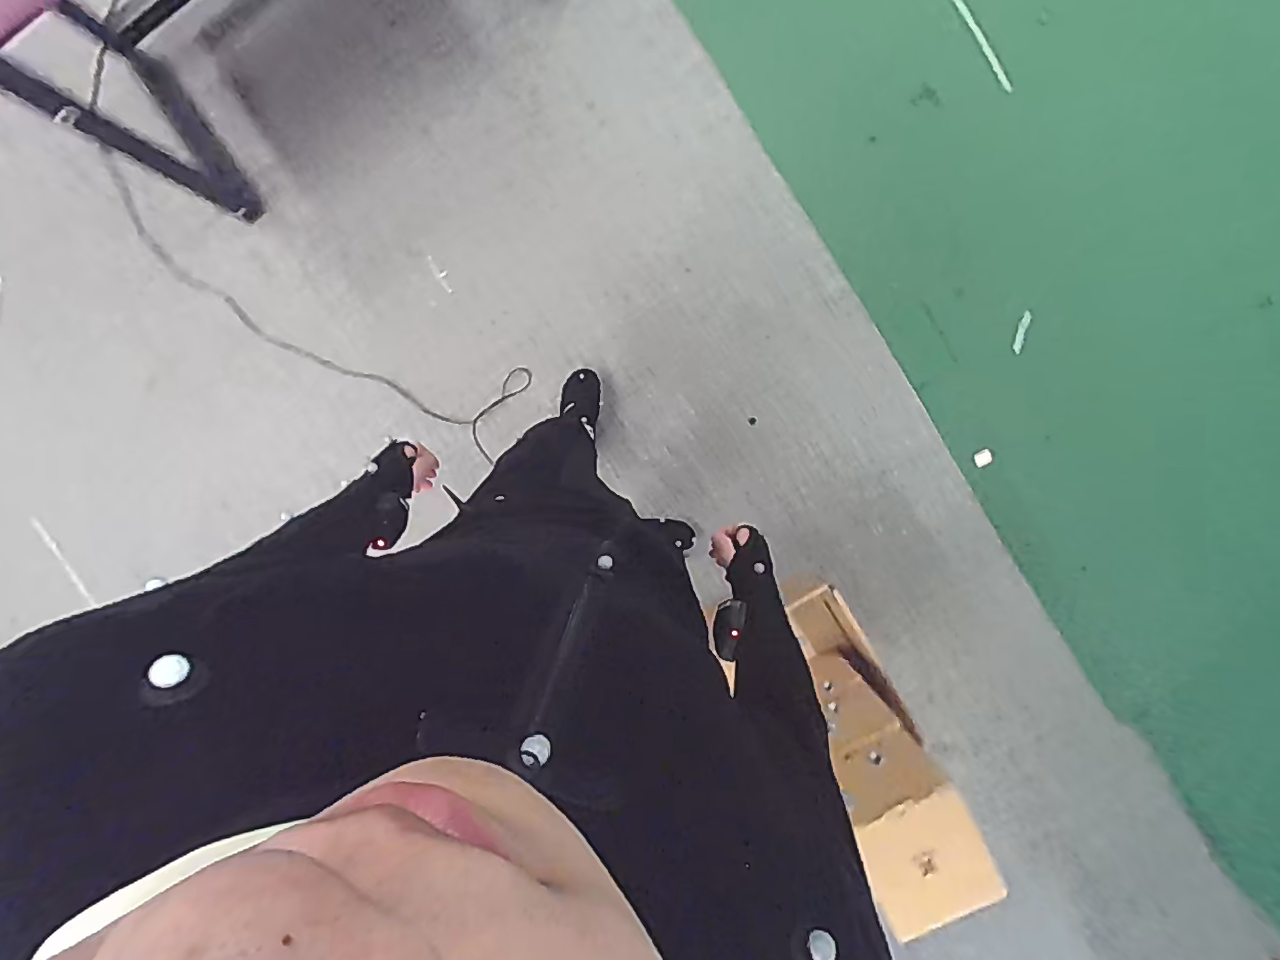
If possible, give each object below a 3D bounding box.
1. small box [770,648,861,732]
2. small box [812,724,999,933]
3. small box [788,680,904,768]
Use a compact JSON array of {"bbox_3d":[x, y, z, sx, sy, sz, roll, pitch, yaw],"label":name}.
[{"bbox_3d":[0.400,0.492,1.150,0.168,0.176,0.179,-30,92,3],"label":"small box"},{"bbox_3d":[0.389,0.516,0.824,0.168,0.176,0.179,-26,92,3],"label":"small box"},{"bbox_3d":[0.395,0.504,0.986,0.168,0.176,0.179,-28,92,2],"label":"small box"}]
